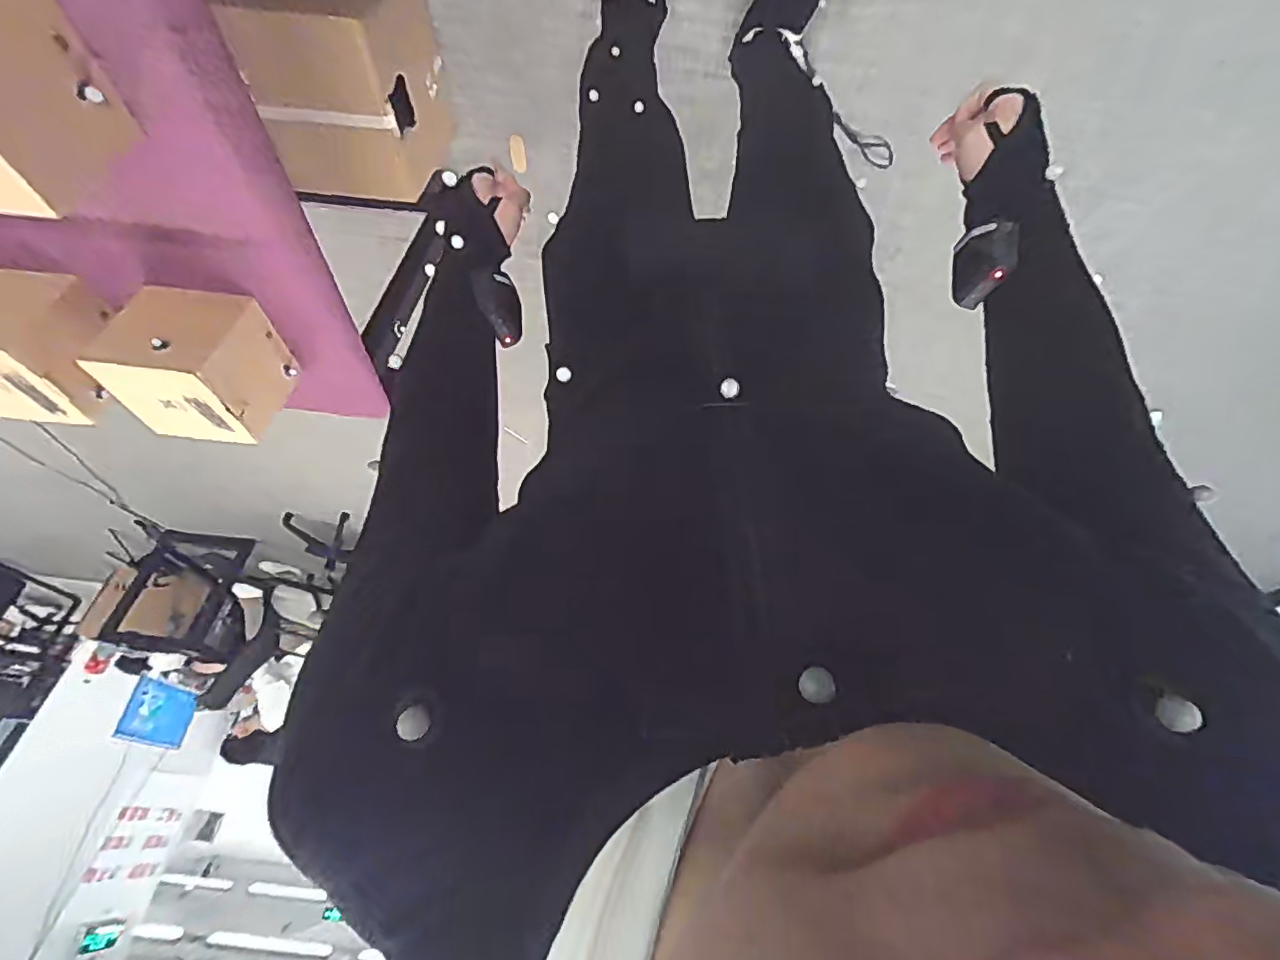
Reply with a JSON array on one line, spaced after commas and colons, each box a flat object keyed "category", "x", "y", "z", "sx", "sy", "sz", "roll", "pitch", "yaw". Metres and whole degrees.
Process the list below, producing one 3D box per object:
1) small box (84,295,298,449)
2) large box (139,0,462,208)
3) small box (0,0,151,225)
[{"category": "small box", "x": -0.684, "y": -0.171, "z": 0.858, "sx": 0.179, "sy": 0.176, "sz": 0.168, "roll": 7, "pitch": 146, "yaw": 2}, {"category": "large box", "x": -0.636, "y": -0.802, "z": 1.106, "sx": 0.408, "sy": 0.320, "sz": 0.320, "roll": 6, "pitch": 145, "yaw": 2}, {"category": "small box", "x": -0.667, "y": -0.386, "z": 0.540, "sx": 0.179, "sy": 0.176, "sz": 0.168, "roll": 6, "pitch": 147, "yaw": 1}]
